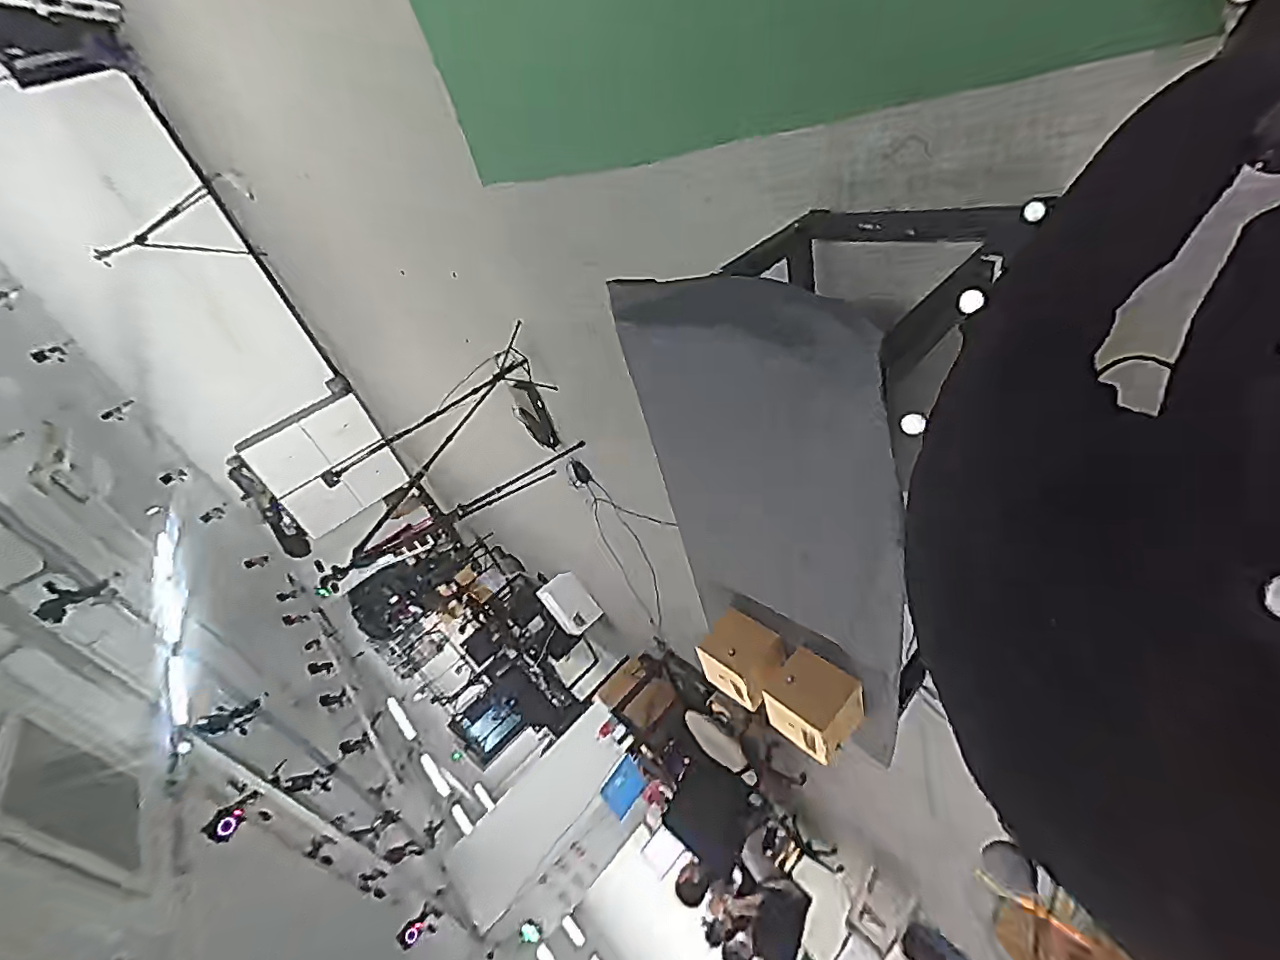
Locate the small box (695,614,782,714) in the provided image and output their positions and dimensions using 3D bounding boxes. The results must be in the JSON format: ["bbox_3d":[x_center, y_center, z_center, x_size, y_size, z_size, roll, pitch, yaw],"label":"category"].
[{"bbox_3d":[0.288,0.513,1.533,0.179,0.176,0.168,23,142,45],"label":"small box"}]
